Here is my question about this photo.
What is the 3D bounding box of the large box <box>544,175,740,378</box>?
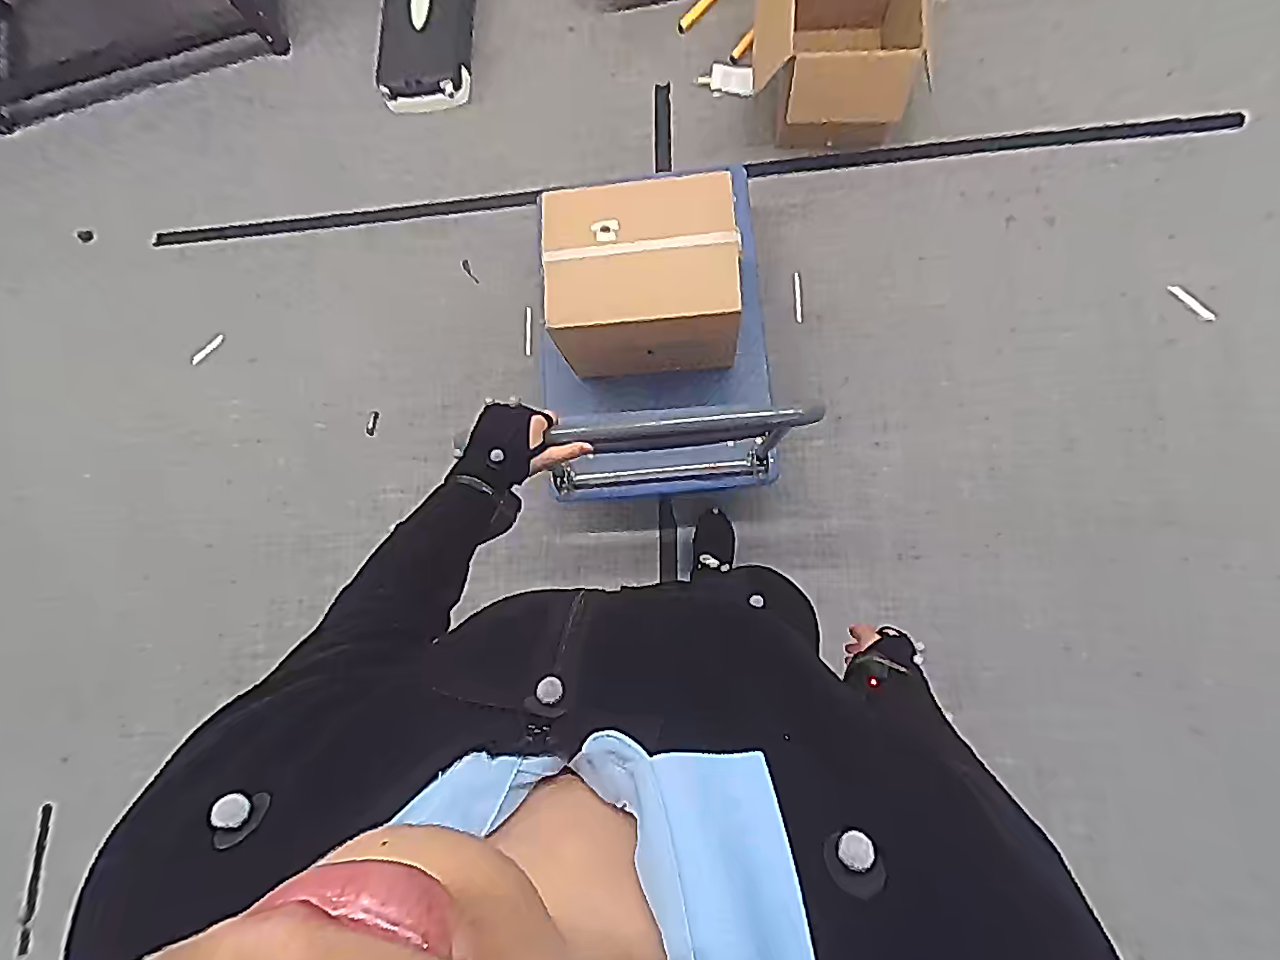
[{"bbox_3d":[0.015,-0.451,1.275,0.408,0.320,0.320,-4,80,7],"label":"large box"}]
